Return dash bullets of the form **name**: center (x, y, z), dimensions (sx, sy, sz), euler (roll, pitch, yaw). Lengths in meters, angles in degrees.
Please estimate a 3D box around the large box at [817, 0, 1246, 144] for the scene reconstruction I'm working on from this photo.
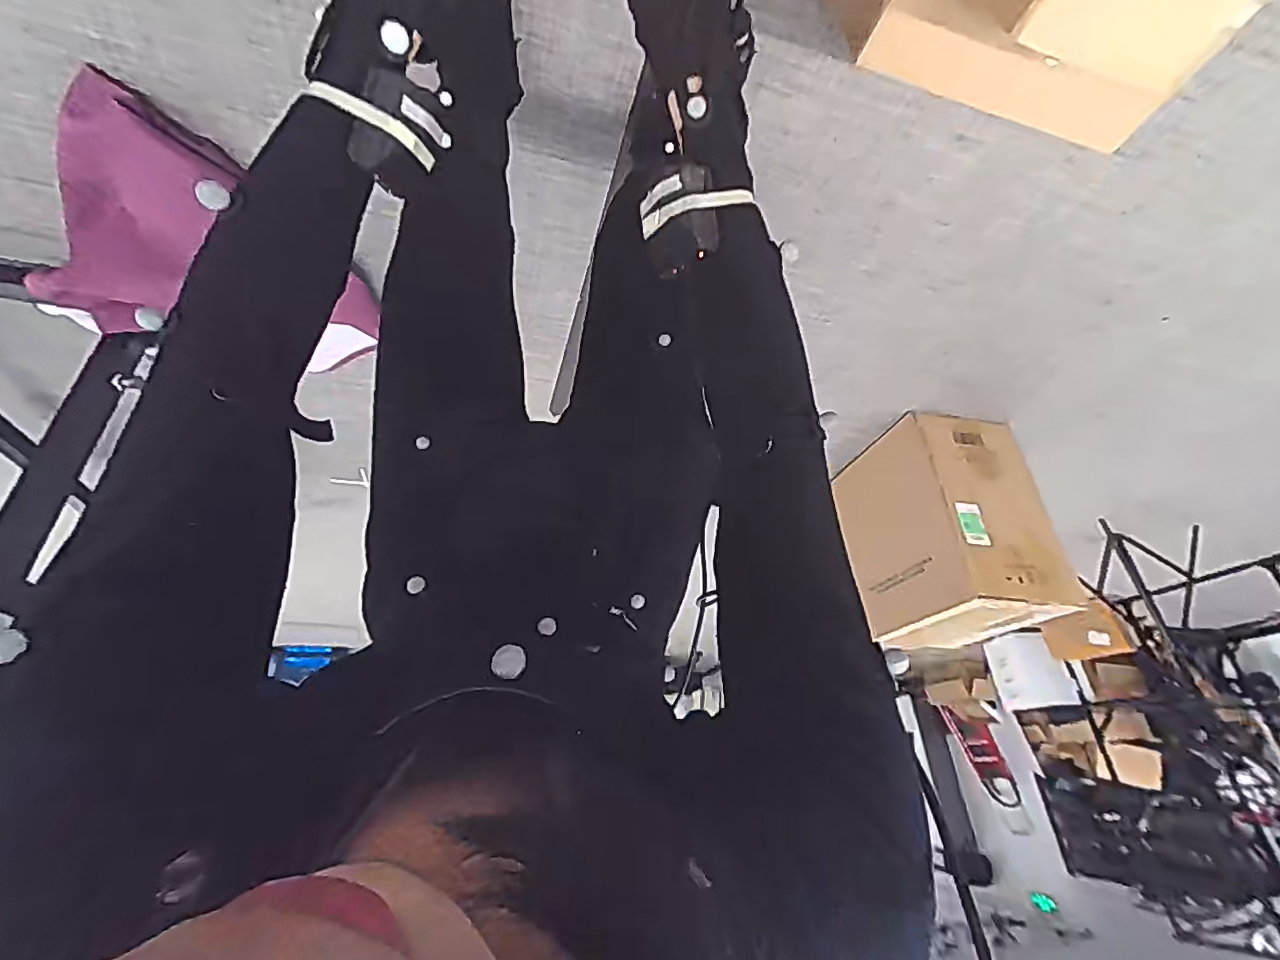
- **large box**: center (0.460, -0.667, 0.623), dimensions (0.408, 0.320, 0.320), euler (5, 150, -16)
